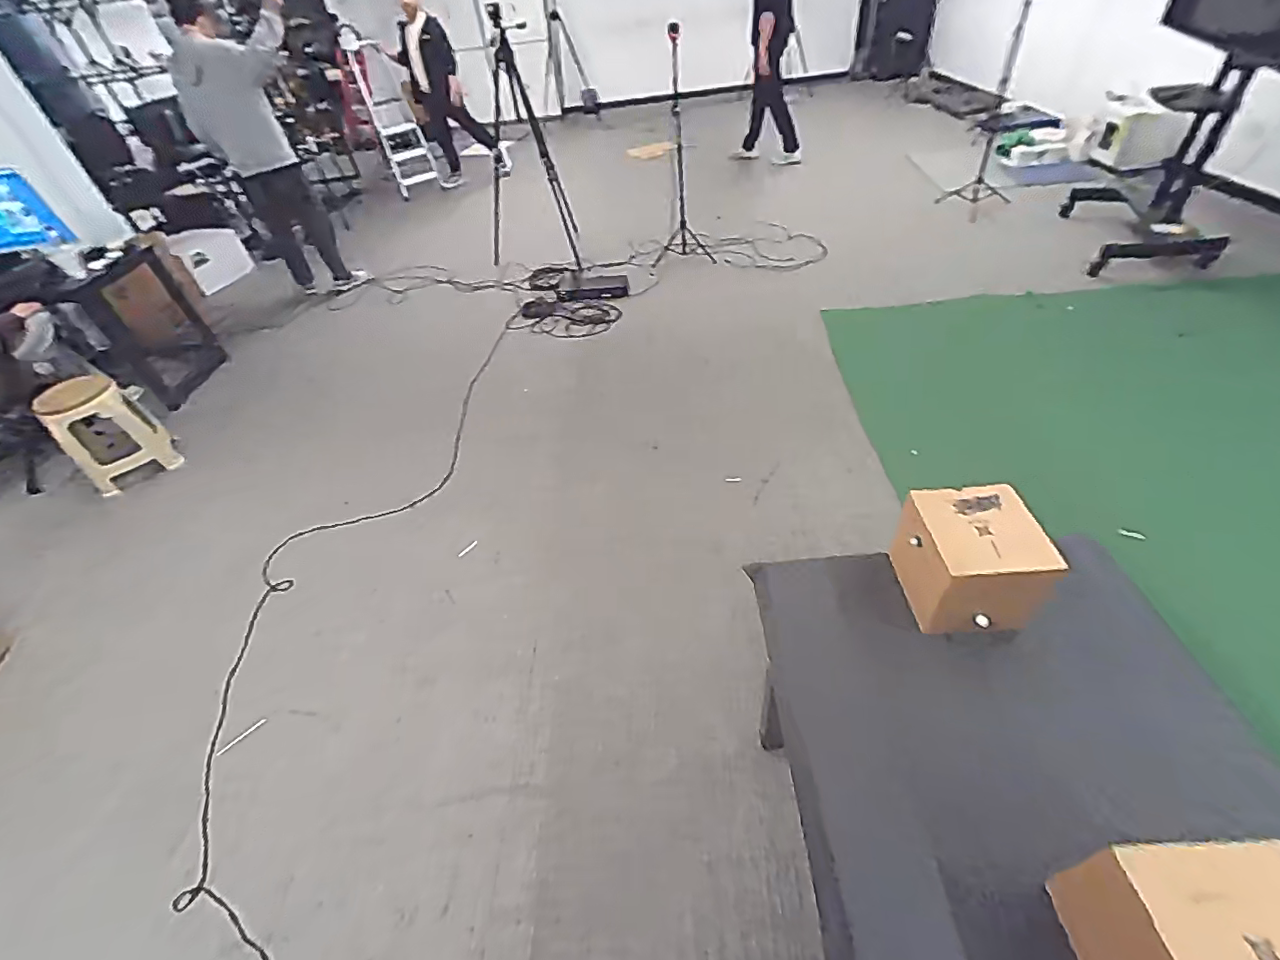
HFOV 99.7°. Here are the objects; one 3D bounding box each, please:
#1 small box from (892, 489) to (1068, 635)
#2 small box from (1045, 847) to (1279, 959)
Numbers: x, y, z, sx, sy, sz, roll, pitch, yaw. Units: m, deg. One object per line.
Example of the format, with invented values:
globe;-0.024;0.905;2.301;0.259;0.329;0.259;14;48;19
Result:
small box;0.542;0.136;0.897;0.168;0.176;0.179;-4;45;3
small box;0.560;0.489;0.535;0.168;0.176;0.179;-3;43;2
